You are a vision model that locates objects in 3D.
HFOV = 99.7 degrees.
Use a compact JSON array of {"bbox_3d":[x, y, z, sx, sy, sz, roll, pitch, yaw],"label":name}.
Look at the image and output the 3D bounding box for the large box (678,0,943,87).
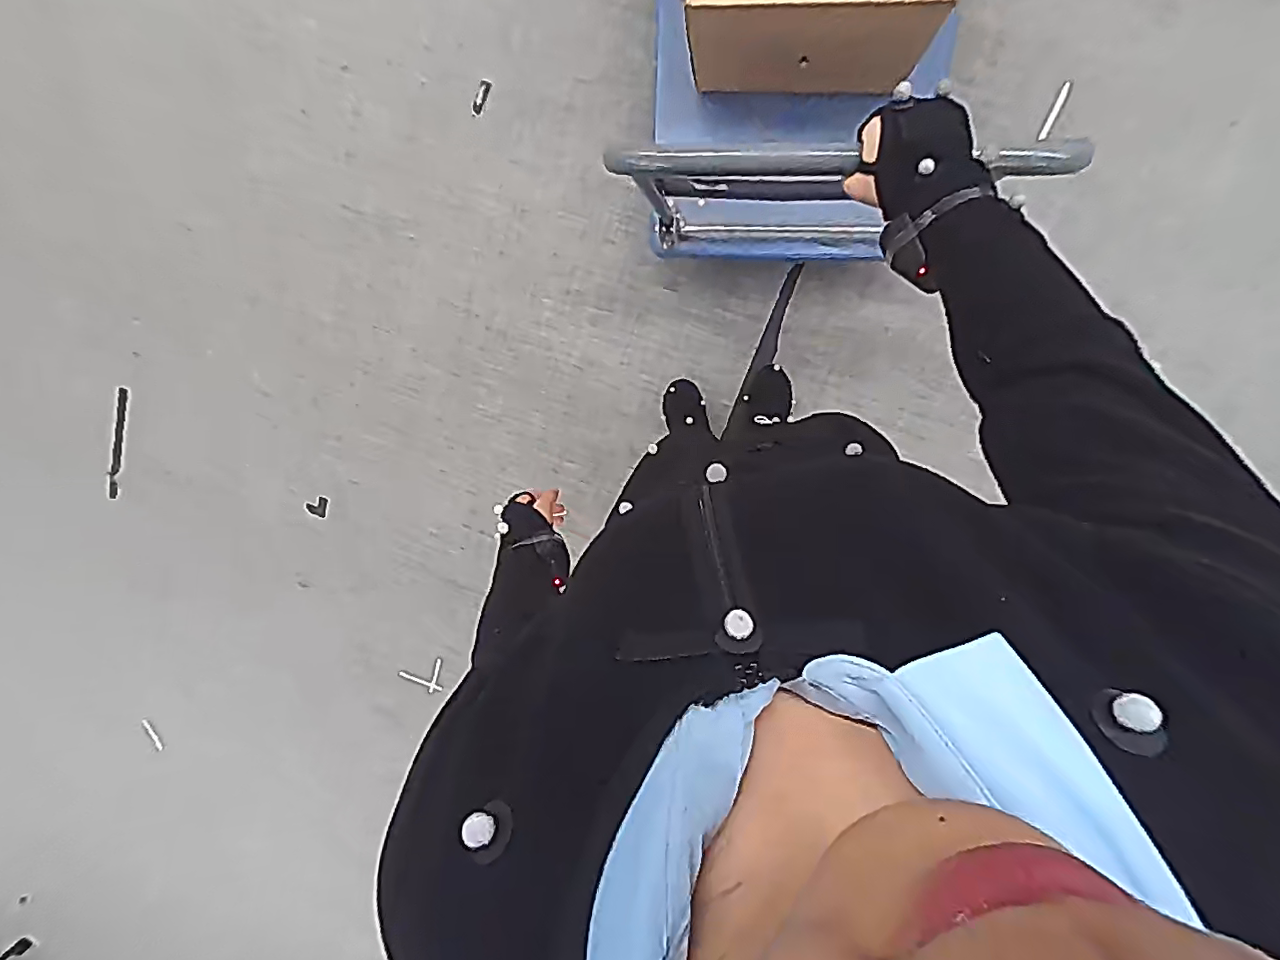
[{"bbox_3d":[0.287,-0.905,0.906,0.408,0.320,0.320,5,104,10],"label":"large box"}]
